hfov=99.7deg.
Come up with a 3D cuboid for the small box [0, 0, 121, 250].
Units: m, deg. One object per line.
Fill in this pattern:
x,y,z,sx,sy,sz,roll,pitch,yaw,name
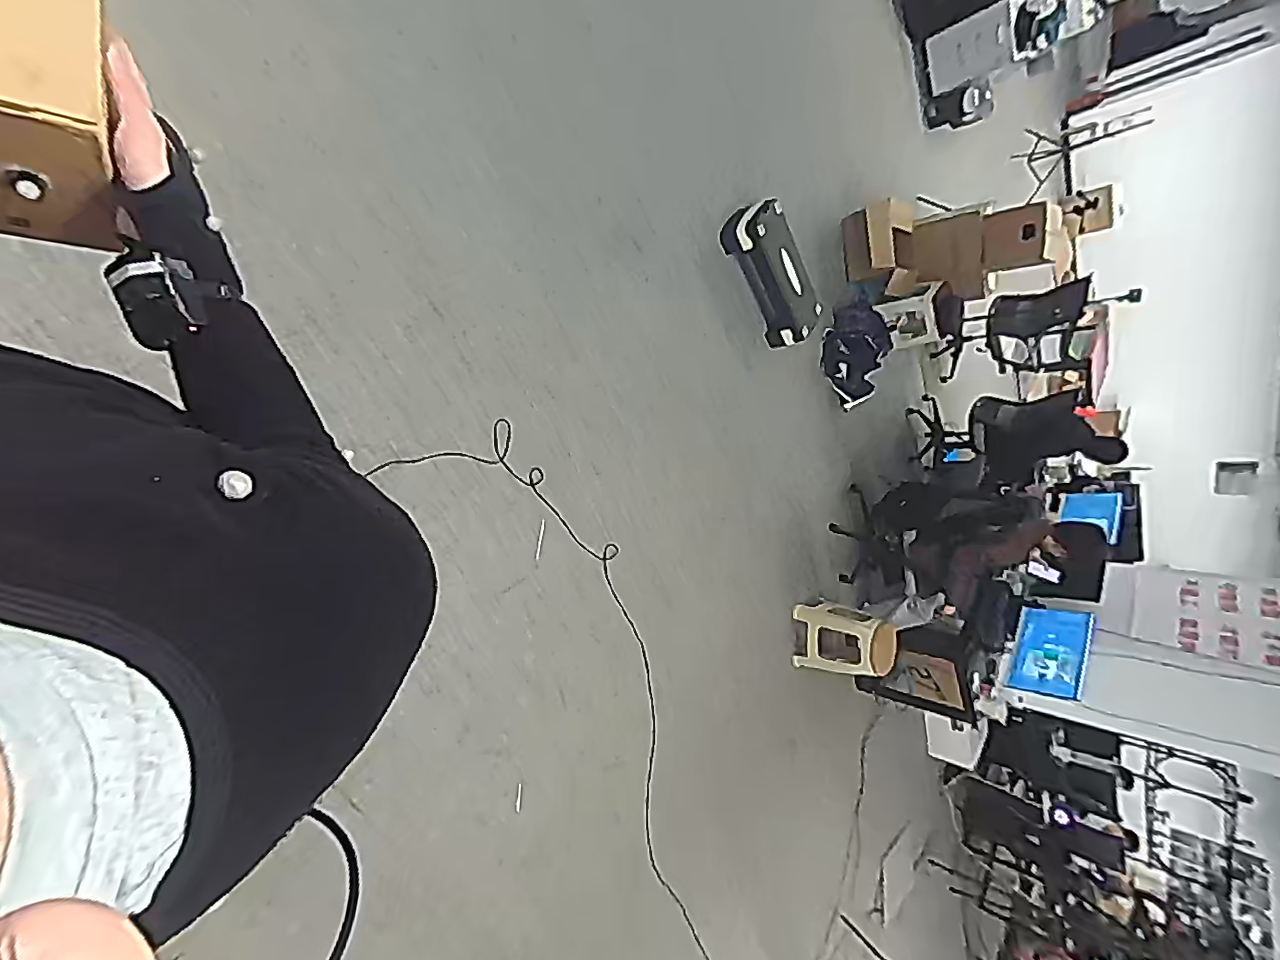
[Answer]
-0.488,-0.296,0.383,0.168,0.176,0.179,-3,78,-42,small box
